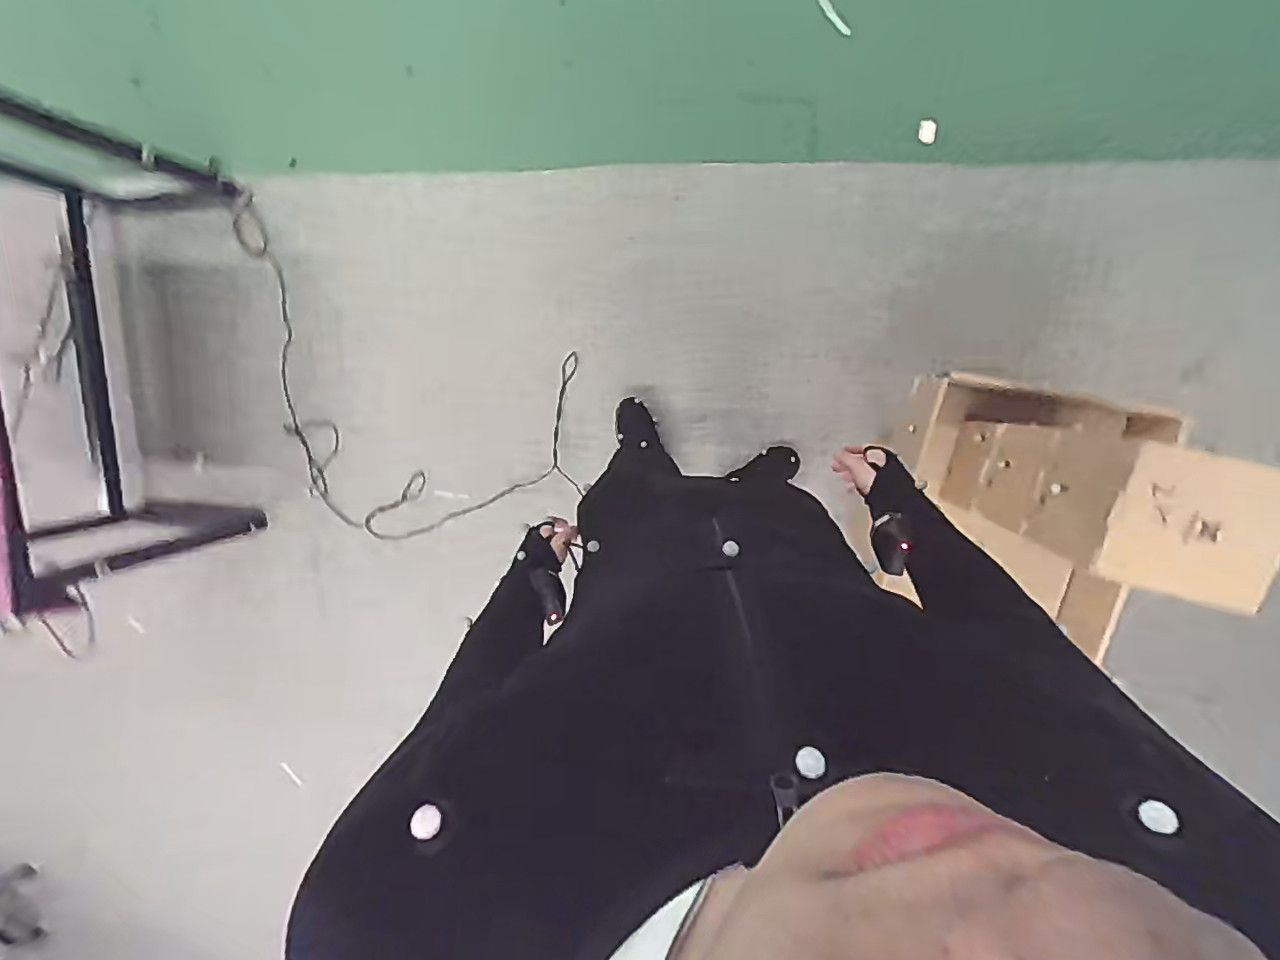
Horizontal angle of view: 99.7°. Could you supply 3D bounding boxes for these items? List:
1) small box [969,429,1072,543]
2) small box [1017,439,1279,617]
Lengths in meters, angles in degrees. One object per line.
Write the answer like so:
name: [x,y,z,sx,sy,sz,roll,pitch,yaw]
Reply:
small box: [0.673,0.019,0.865,0.179,0.176,0.168,14,103,8]
small box: [0.647,0.049,0.704,0.179,0.176,0.168,15,102,8]
